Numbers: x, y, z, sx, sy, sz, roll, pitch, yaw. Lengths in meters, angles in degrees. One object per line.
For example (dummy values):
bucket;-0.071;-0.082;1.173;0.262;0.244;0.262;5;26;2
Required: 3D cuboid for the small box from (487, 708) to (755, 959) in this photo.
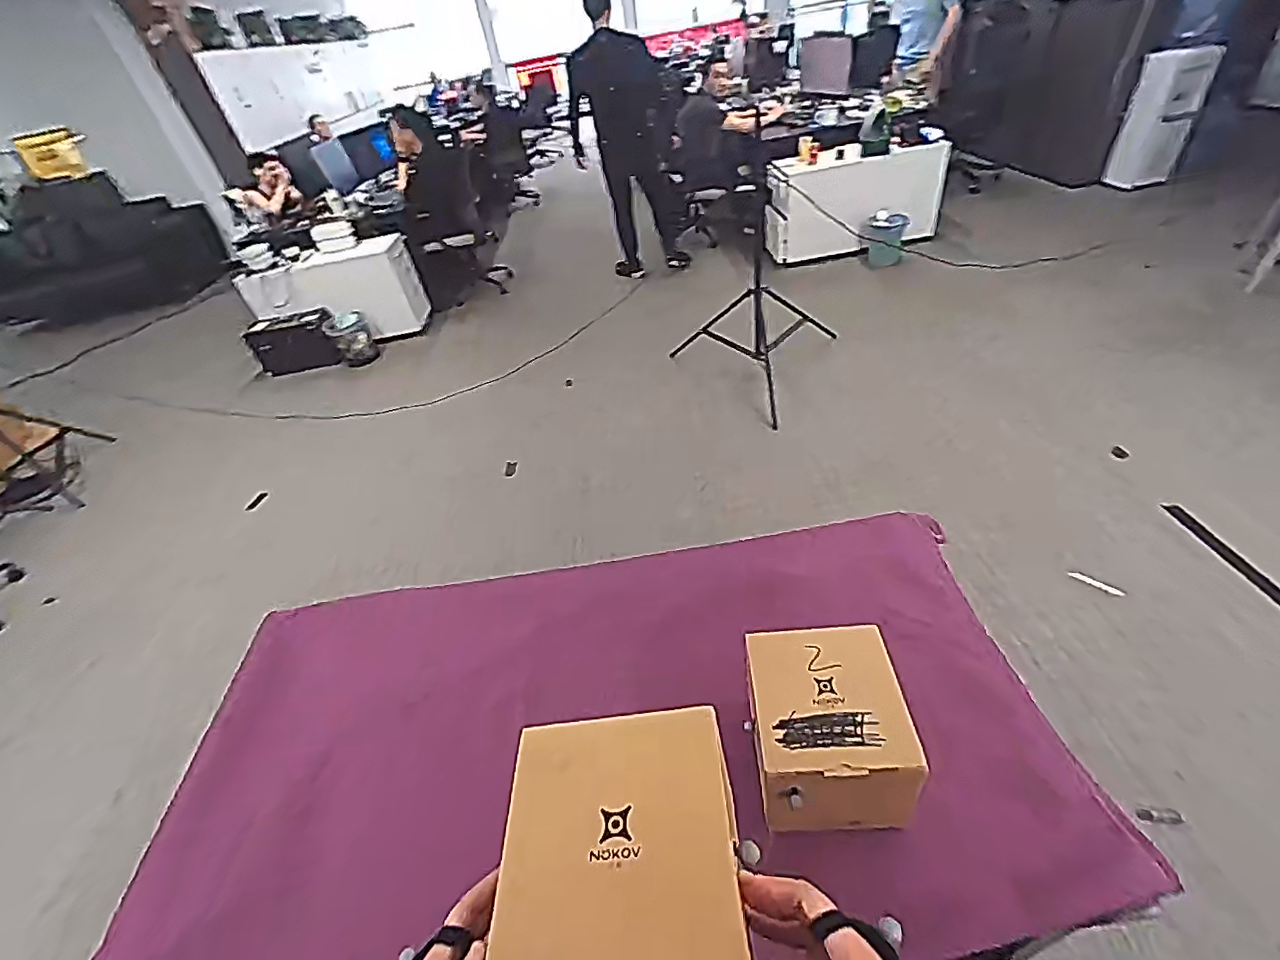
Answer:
small box;-0.002;0.313;0.428;0.168;0.176;0.179;-9;36;5
